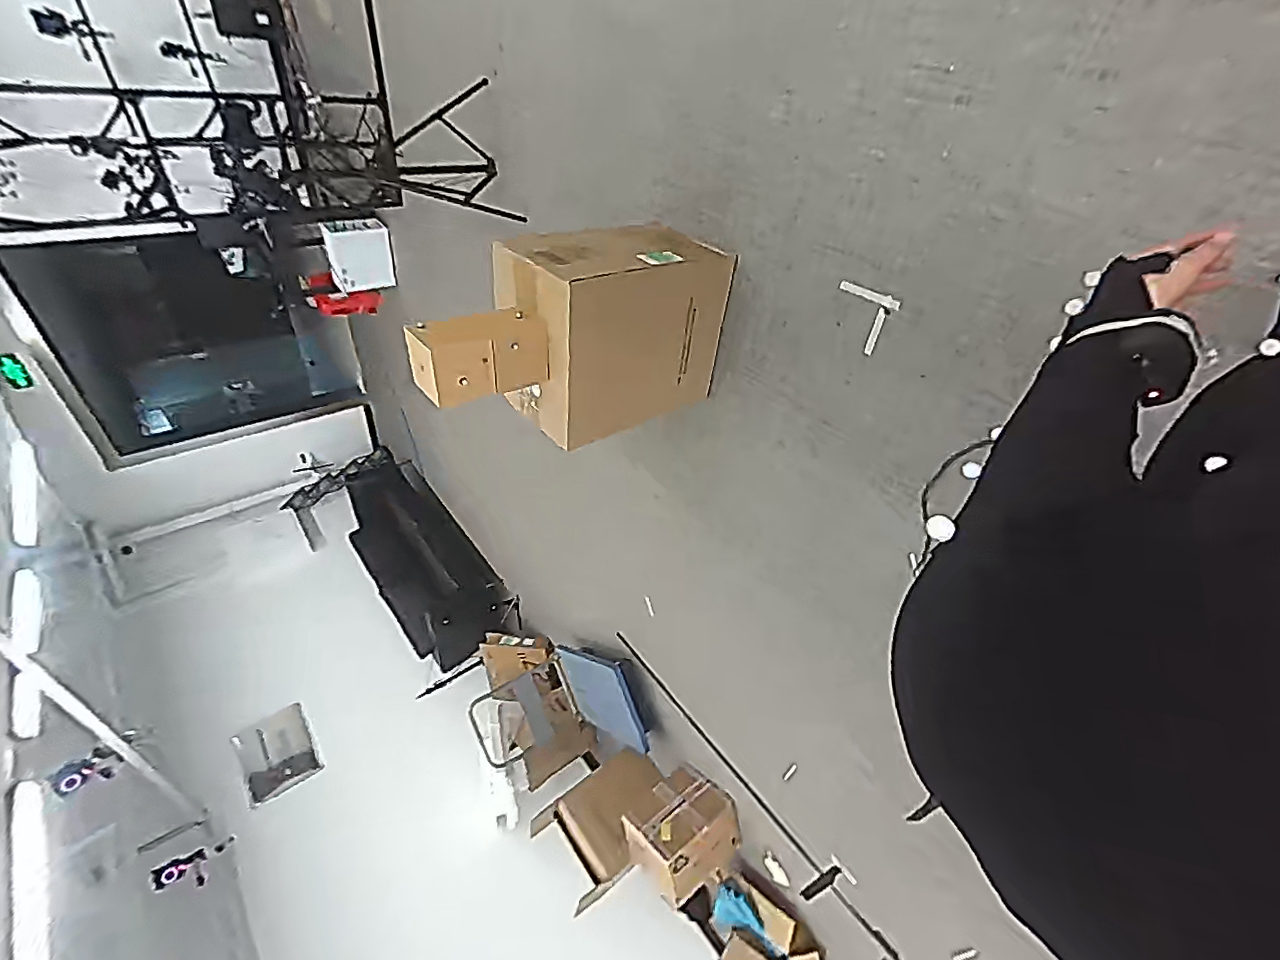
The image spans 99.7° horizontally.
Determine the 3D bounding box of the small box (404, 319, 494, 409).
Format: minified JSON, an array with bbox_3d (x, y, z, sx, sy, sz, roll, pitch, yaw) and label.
[{"bbox_3d":[-0.500,-0.316,1.442,0.179,0.176,0.168,39,139,36],"label":"small box"}]
